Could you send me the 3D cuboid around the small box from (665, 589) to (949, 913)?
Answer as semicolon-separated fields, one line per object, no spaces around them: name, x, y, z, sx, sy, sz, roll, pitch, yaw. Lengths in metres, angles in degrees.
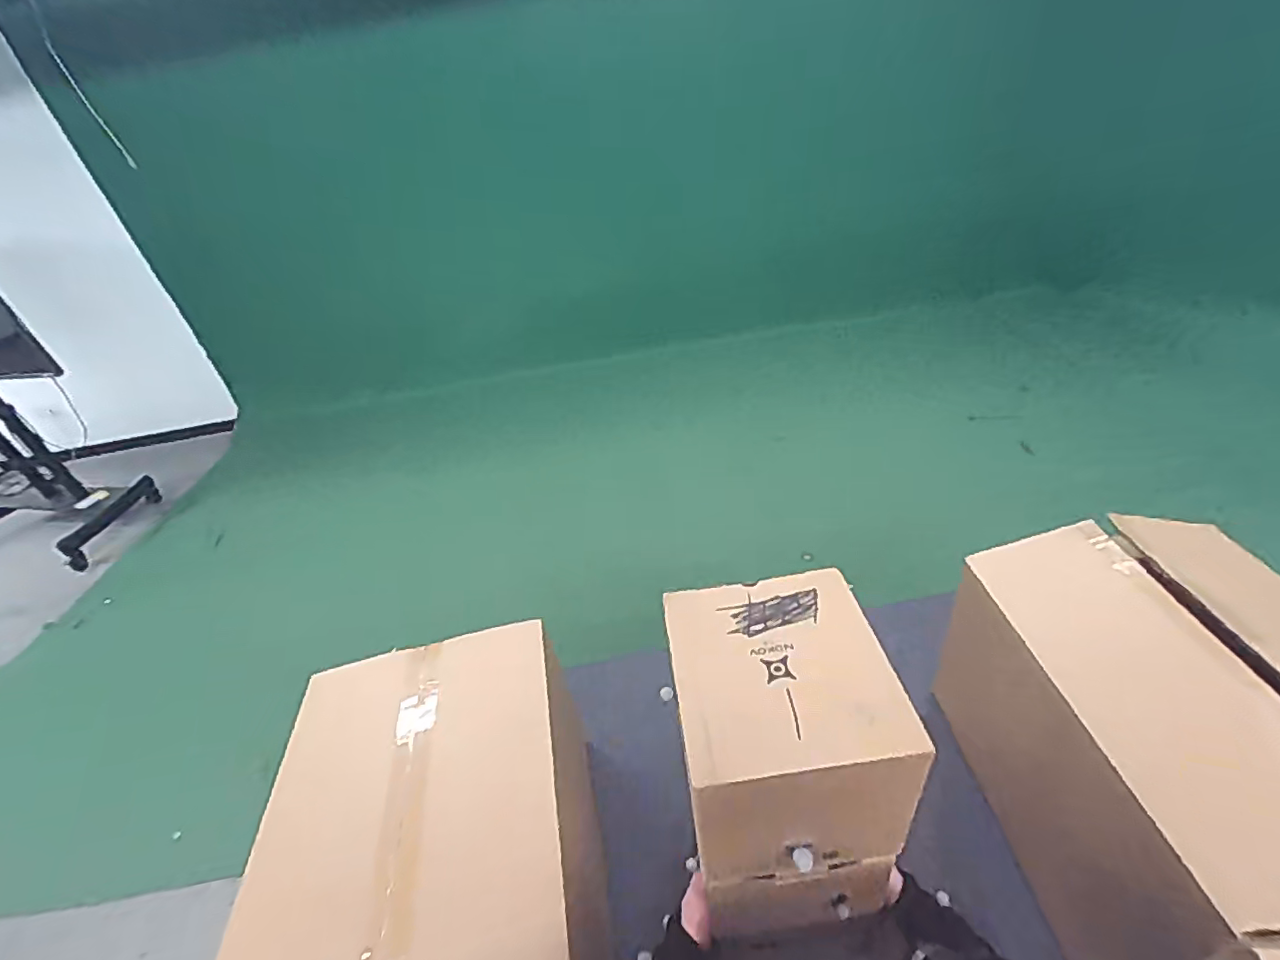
small box;0.117;0.221;0.452;0.168;0.176;0.179;-9;37;1

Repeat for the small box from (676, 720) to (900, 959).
small box;0.136;0.353;0.548;0.168;0.176;0.179;-9;35;0
